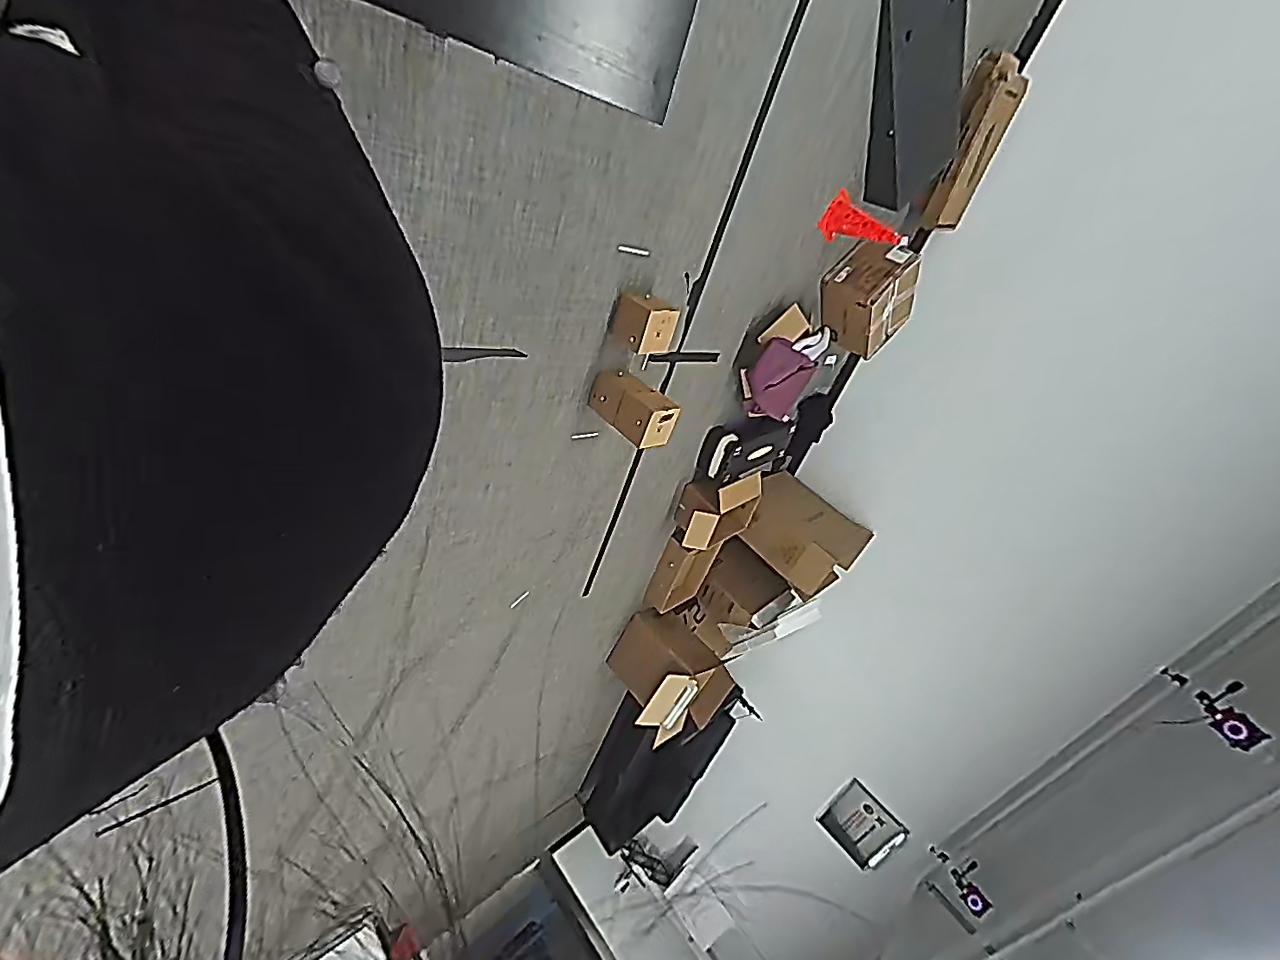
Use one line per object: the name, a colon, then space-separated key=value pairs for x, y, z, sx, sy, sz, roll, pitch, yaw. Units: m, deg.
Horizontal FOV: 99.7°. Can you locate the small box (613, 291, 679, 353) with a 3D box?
small box: x=0.016 y=-0.611 z=2.088 sx=0.168 sy=0.176 sz=0.179 roll=-17 pitch=137 yaw=-42

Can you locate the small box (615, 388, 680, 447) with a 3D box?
small box: x=0.025 y=-0.259 z=2.178 sx=0.168 sy=0.176 sz=0.179 roll=-14 pitch=136 yaw=-44

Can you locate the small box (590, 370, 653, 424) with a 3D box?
small box: x=-0.084 y=-0.351 z=2.262 sx=0.179 sy=0.176 sz=0.168 roll=-12 pitch=134 yaw=-45
